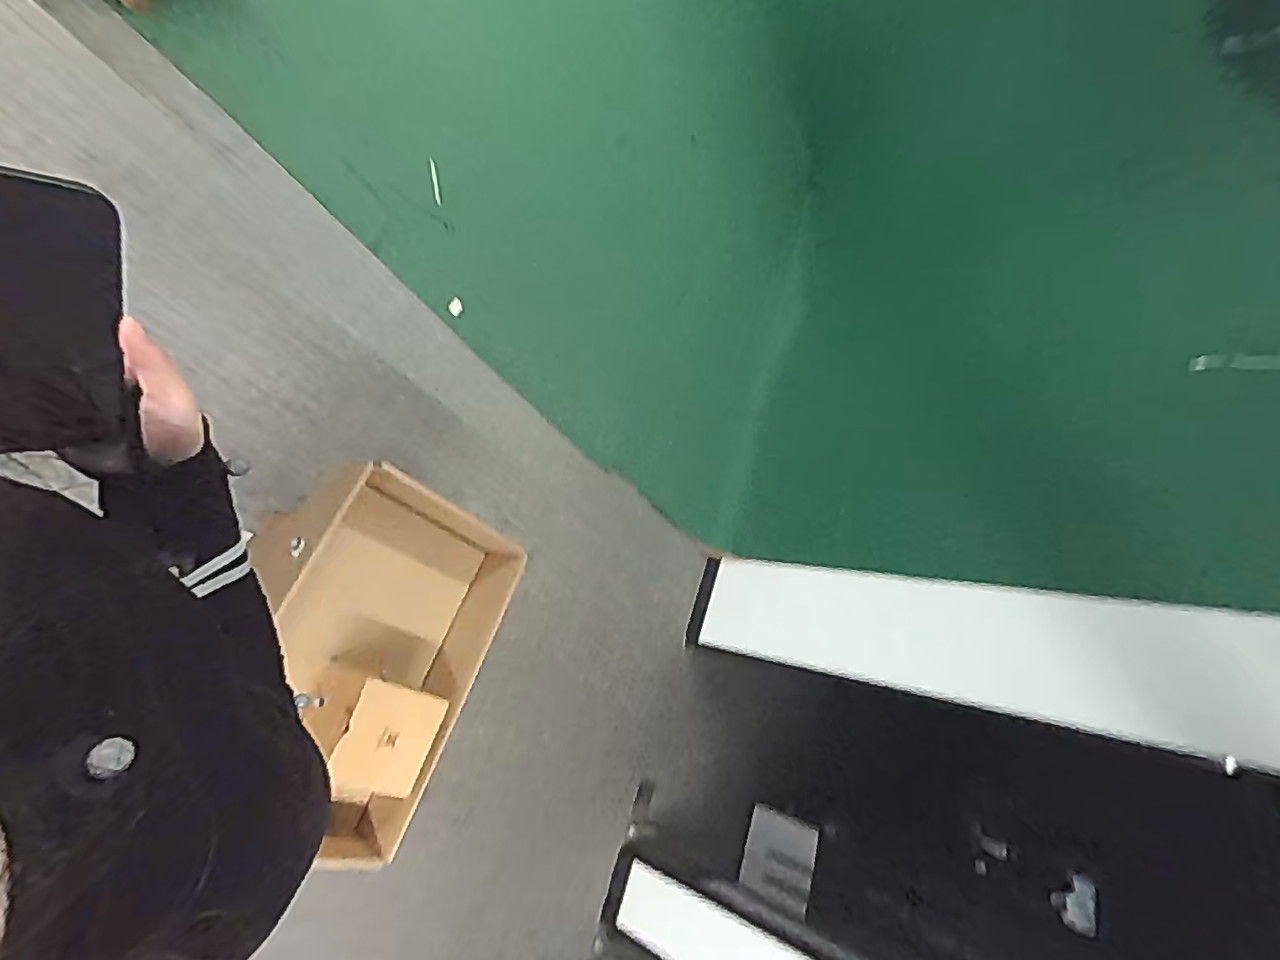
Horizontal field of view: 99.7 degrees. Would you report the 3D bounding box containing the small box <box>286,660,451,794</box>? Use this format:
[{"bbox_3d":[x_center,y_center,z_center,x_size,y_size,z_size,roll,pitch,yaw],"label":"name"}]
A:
[{"bbox_3d":[-0.490,0.442,0.981,0.179,0.176,0.168,43,58,-41],"label":"small box"}]
